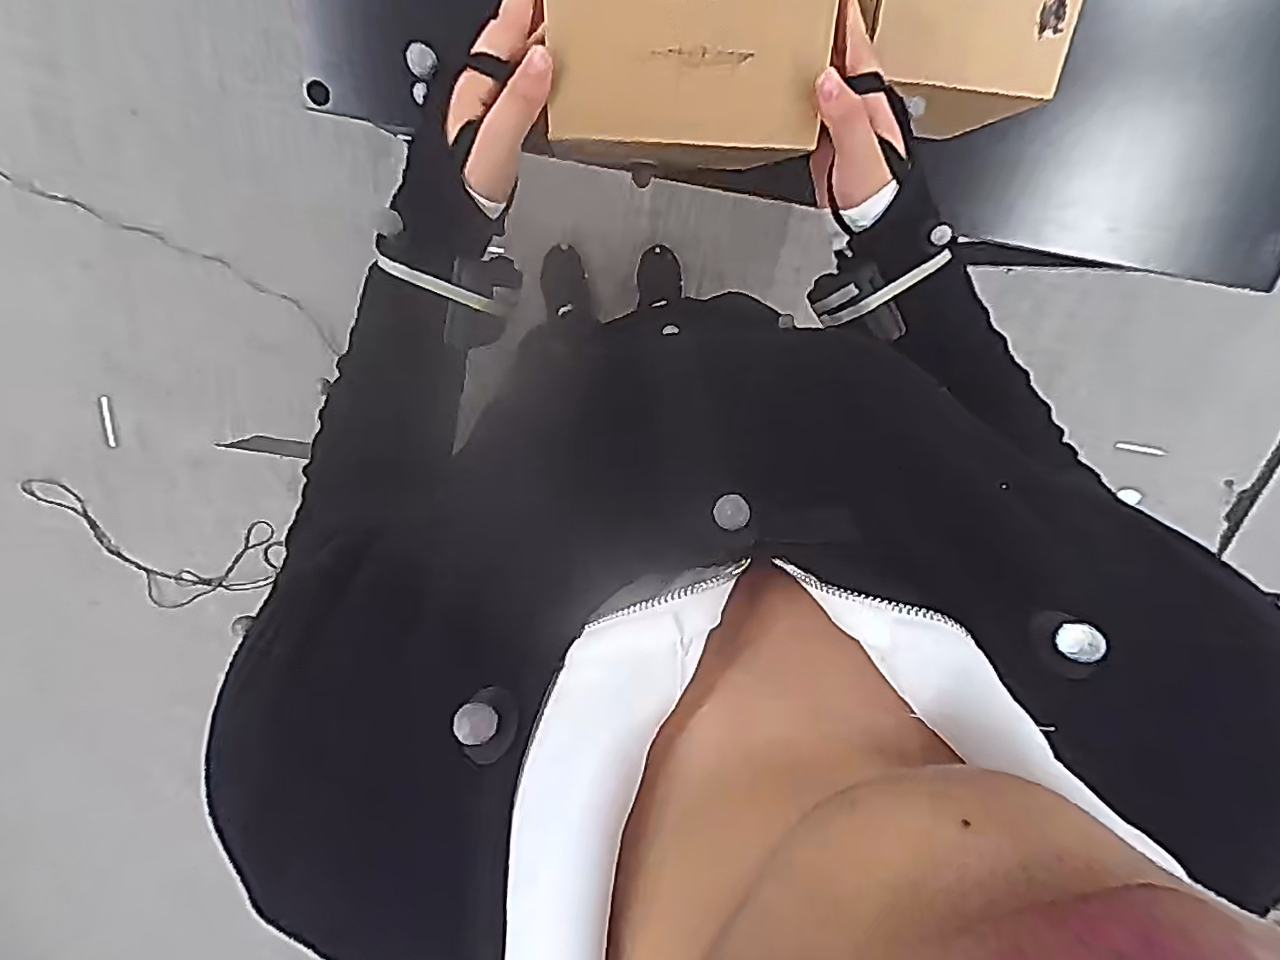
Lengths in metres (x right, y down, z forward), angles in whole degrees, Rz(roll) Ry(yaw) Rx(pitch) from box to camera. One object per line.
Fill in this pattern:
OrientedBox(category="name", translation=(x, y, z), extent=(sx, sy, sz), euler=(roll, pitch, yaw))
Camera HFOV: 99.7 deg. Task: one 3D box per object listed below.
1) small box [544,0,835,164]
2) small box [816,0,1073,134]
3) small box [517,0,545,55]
OrientedBox(category="small box", translation=(0.021, -0.321, 0.359), extent=(0.168, 0.176, 0.179), euler=(-1, 117, -6))
OrientedBox(category="small box", translation=(0.275, -0.450, 0.517), extent=(0.179, 0.176, 0.168), euler=(4, 112, -4))
OrientedBox(category="small box", translation=(-0.014, -0.492, 0.481), extent=(0.179, 0.176, 0.168), euler=(4, 112, -4))
